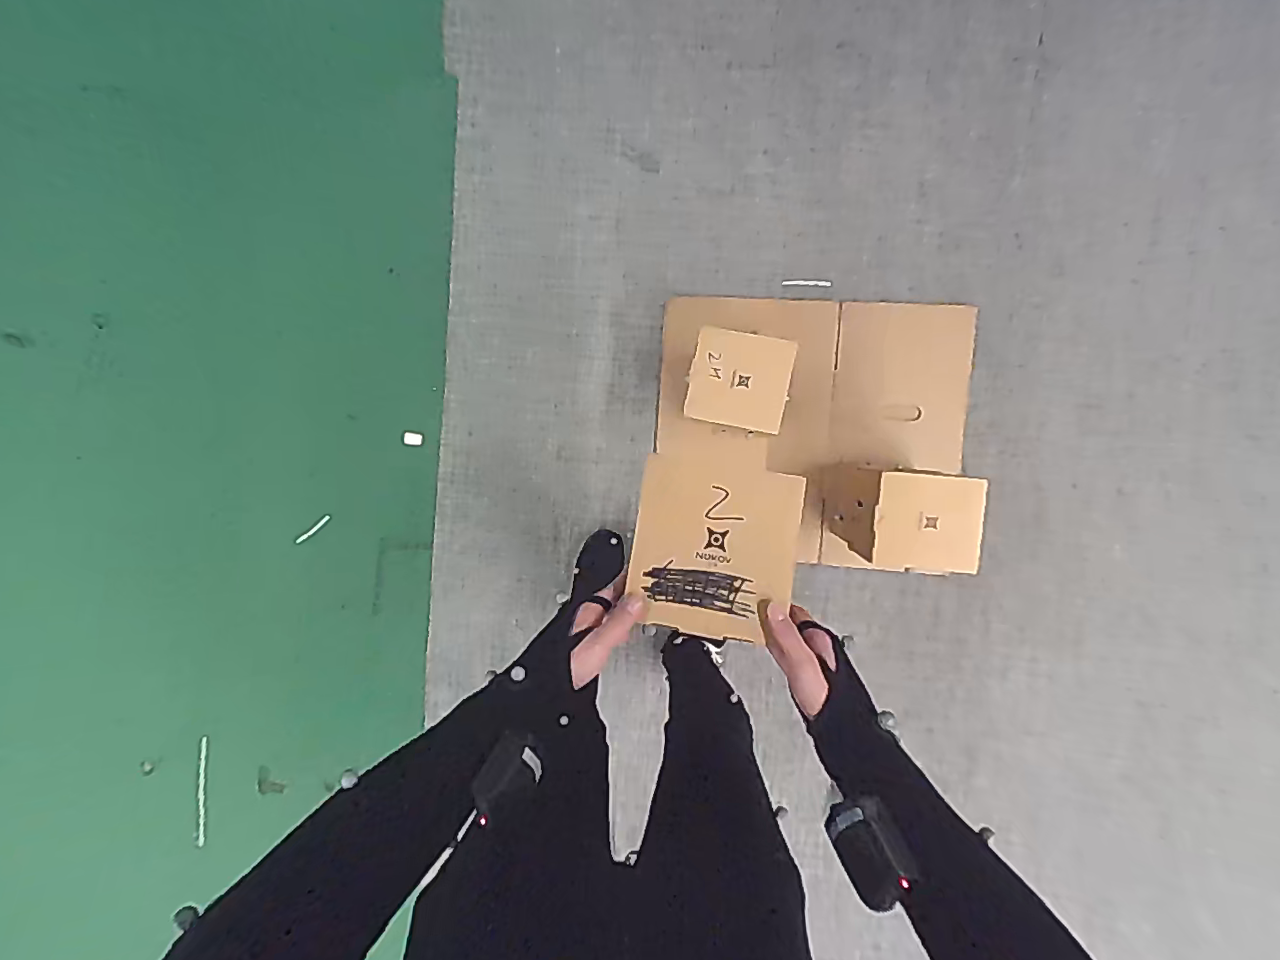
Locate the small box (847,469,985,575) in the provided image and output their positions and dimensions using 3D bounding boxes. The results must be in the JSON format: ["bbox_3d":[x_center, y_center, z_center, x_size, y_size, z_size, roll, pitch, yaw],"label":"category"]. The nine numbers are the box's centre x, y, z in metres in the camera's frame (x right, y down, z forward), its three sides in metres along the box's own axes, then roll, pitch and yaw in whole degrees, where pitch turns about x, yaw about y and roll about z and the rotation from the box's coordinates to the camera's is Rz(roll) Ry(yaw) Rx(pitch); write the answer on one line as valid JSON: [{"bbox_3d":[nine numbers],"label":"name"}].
[{"bbox_3d":[0.502,0.069,1.006,0.179,0.176,0.168,4,94,8],"label":"small box"}]

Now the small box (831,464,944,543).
[{"bbox_3d":[0.523,0.055,1.166,0.179,0.176,0.168,5,93,7],"label":"small box"}]

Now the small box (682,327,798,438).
[{"bbox_3d":[0.184,-0.176,1.028,0.179,0.176,0.168,12,93,6],"label":"small box"}]
